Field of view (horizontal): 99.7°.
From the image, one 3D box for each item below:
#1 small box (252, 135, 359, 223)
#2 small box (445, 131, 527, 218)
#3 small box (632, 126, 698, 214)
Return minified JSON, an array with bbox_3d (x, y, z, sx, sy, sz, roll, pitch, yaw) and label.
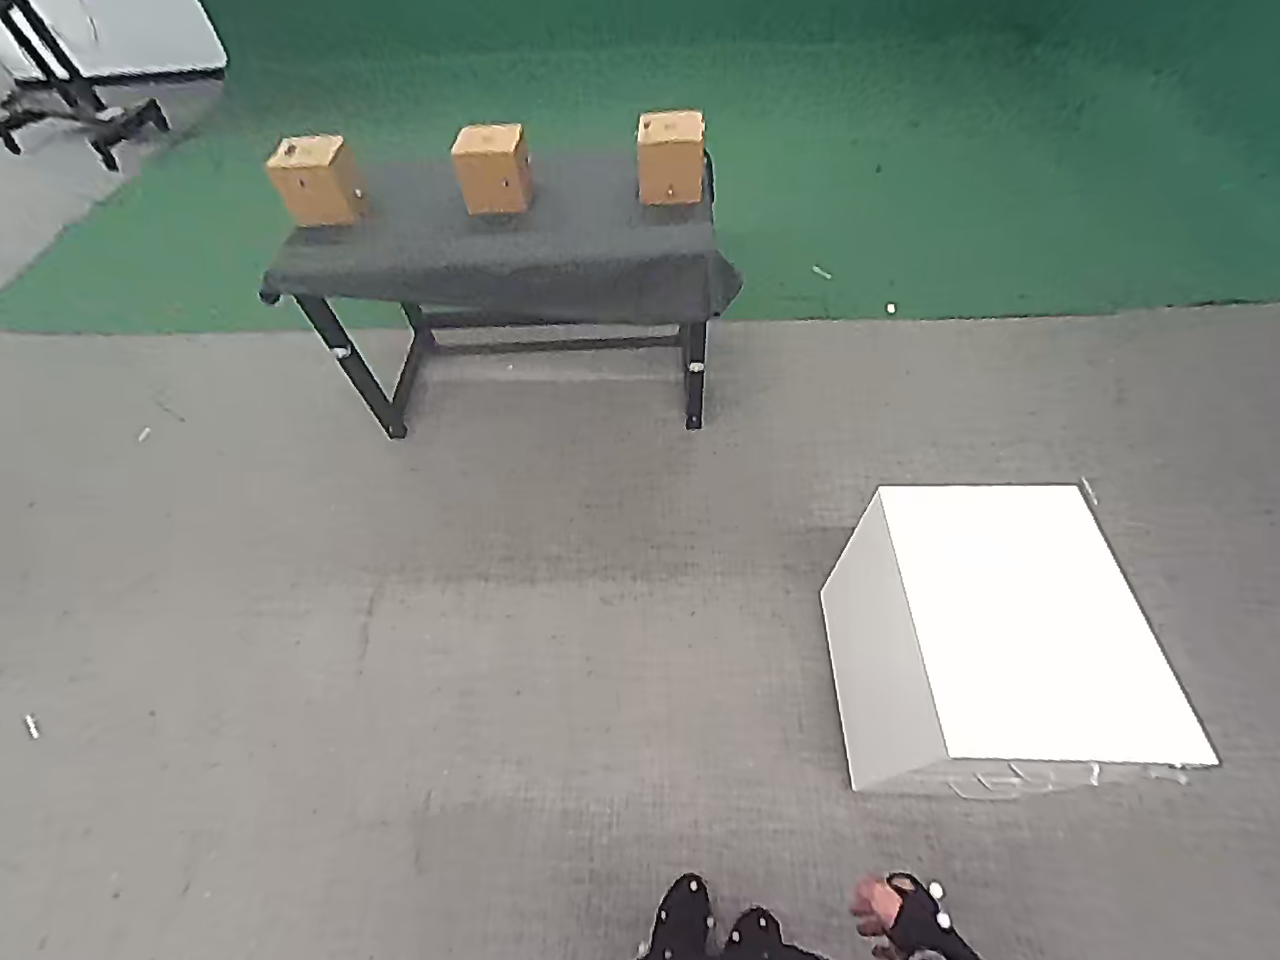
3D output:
[{"bbox_3d":[-0.932,-0.846,1.525,0.179,0.176,0.168,-1,54,-2],"label":"small box"},{"bbox_3d":[-0.429,-0.866,1.538,0.179,0.176,0.168,-1,52,1],"label":"small box"},{"bbox_3d":[0.071,-0.877,1.537,0.179,0.176,0.168,2,54,2],"label":"small box"}]
